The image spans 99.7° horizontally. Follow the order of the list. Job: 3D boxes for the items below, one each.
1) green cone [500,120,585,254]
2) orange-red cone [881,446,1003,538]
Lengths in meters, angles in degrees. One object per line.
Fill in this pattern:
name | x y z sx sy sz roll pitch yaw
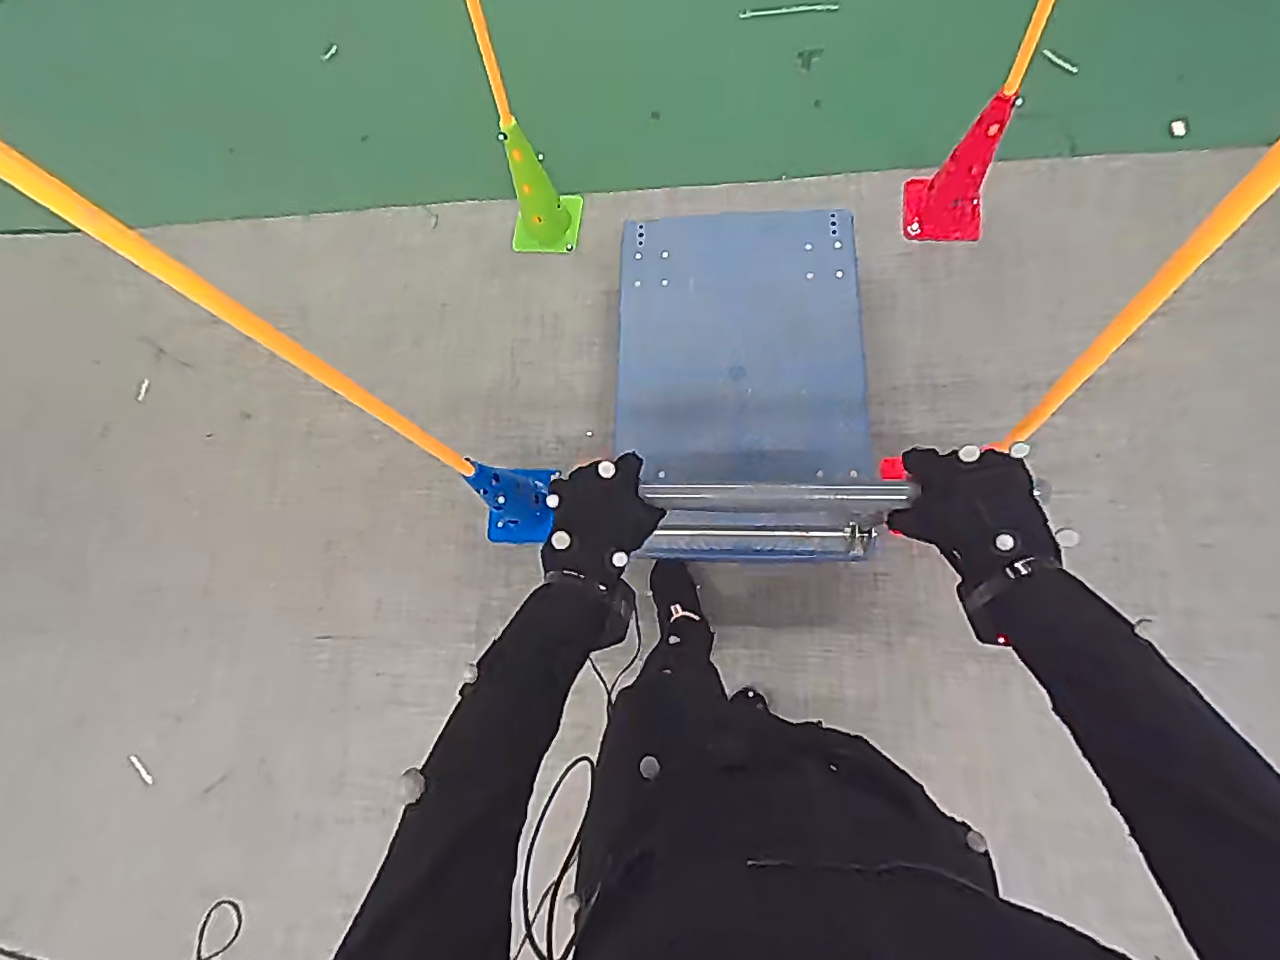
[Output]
green cone | -0.298 -0.826 1.498 0.202 0.368 0.200 4 76 9
orange-red cone | 0.676 0.000 1.167 0.199 0.360 0.198 -1 75 9
